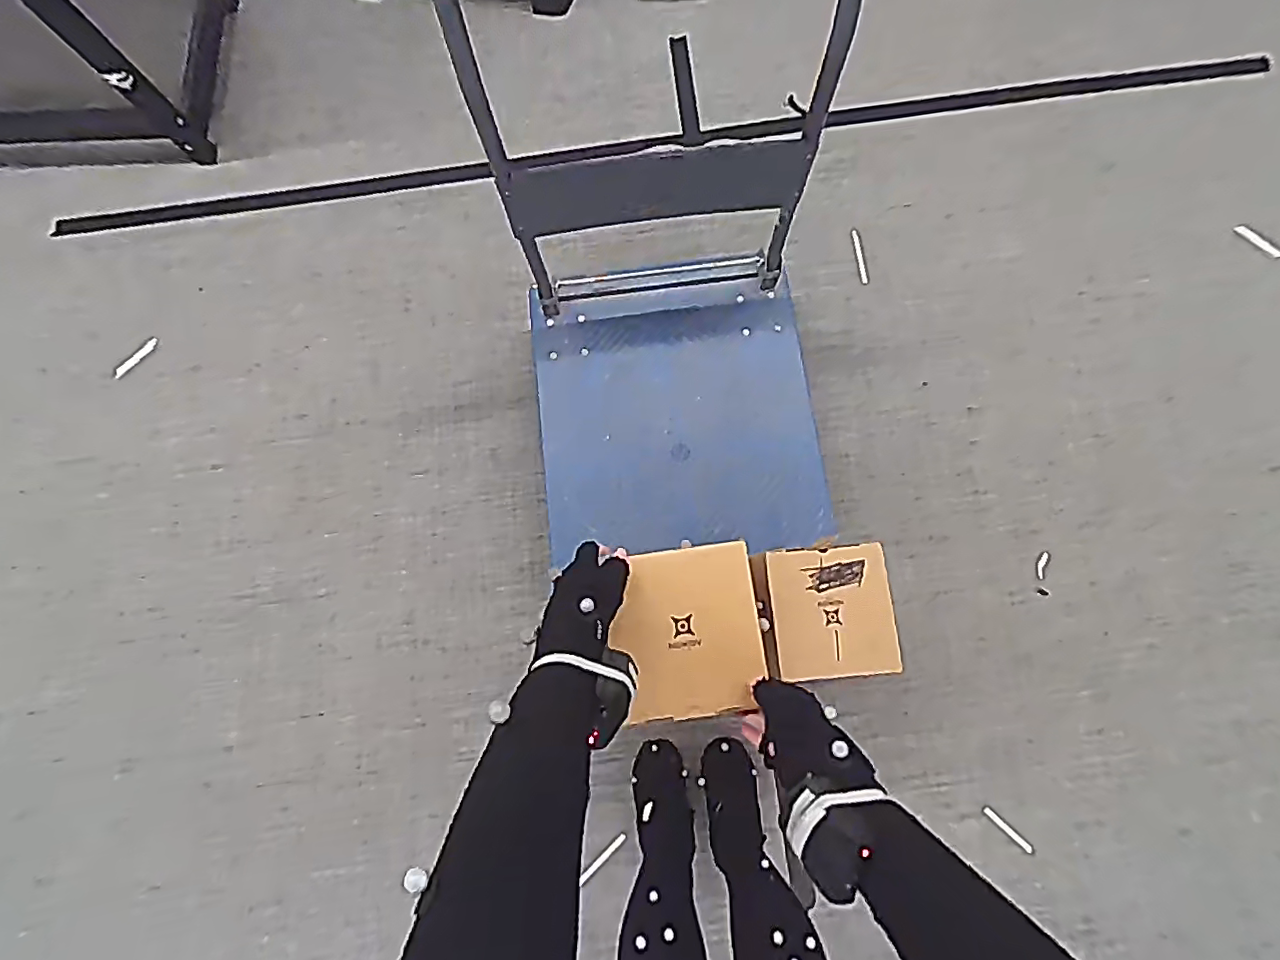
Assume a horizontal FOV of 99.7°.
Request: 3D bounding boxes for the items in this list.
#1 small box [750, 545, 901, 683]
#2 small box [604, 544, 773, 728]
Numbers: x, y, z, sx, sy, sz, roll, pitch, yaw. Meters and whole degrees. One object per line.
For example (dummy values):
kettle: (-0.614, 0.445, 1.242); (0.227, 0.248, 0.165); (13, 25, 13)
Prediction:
small box: (0.263, 0.197, 0.817); (0.168, 0.176, 0.179); (-5, 79, 0)
small box: (0.049, 0.181, 0.658); (0.168, 0.176, 0.179); (-8, 79, -1)
